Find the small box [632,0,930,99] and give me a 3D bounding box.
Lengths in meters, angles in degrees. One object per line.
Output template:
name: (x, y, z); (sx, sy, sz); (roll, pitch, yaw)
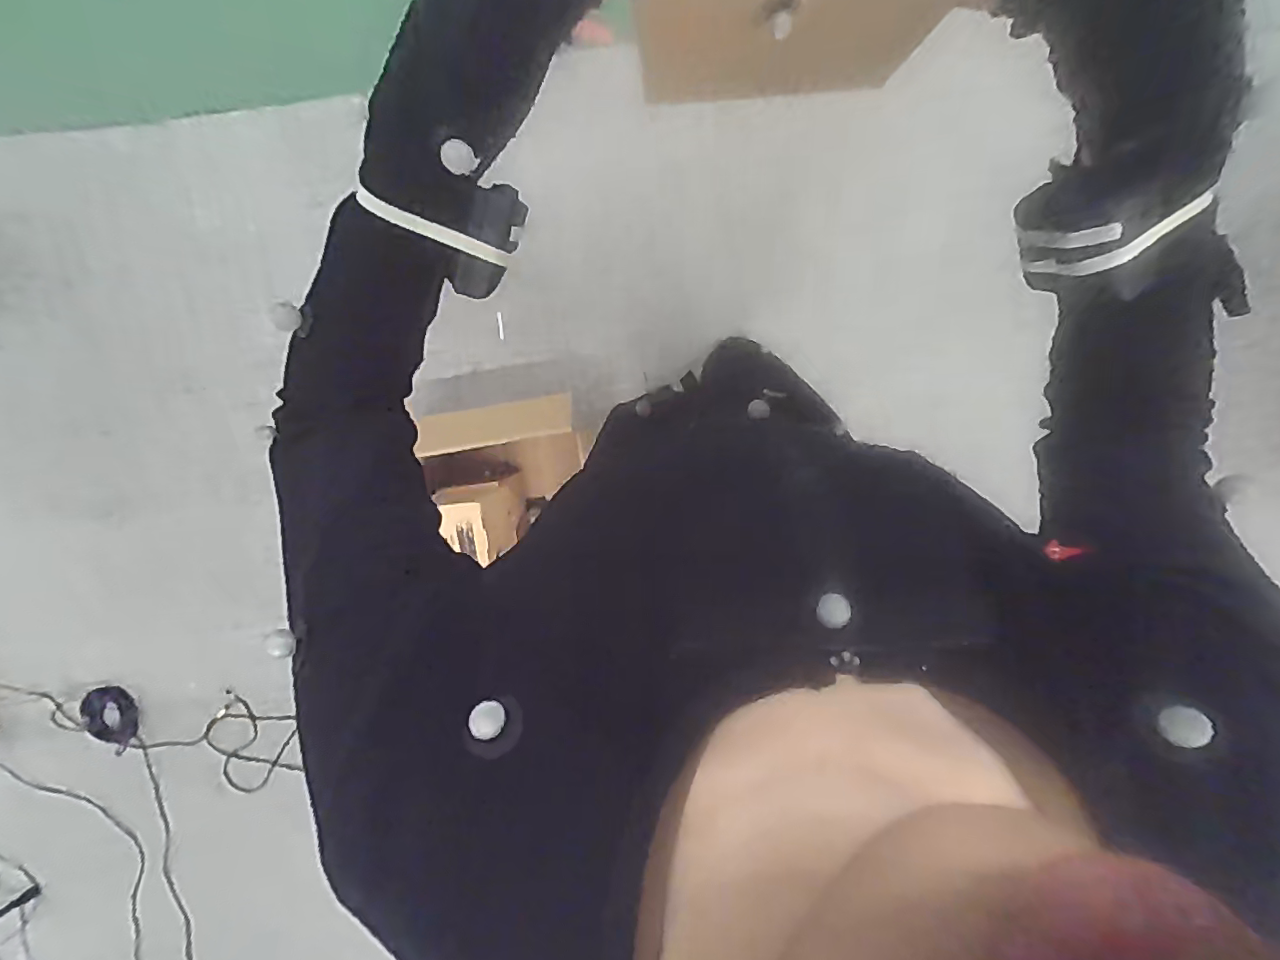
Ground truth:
small box: (0.080, -0.339, 0.303); (0.179, 0.176, 0.168); (-2, 106, 3)
